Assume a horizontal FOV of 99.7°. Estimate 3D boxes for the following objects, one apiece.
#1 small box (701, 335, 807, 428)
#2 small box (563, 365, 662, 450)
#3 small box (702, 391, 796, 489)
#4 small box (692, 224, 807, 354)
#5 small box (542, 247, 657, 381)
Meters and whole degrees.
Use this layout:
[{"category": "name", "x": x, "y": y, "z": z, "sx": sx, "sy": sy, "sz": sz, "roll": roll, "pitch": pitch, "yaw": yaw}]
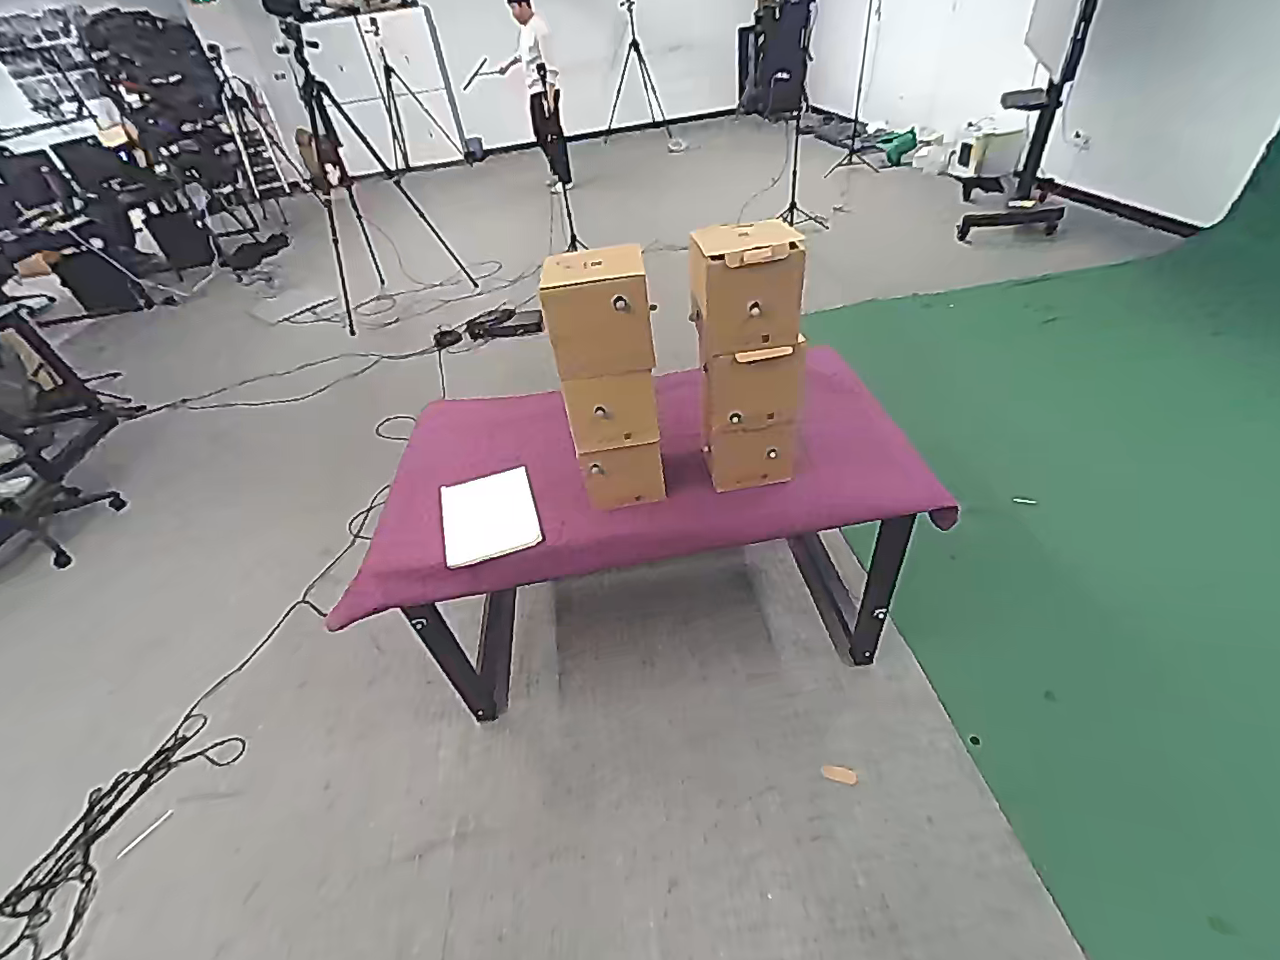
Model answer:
[{"category": "small box", "x": 0.220, "y": -0.215, "z": 1.078, "sx": 0.168, "sy": 0.176, "sz": 0.179, "roll": -9, "pitch": 39, "yaw": -1}, {"category": "small box", "x": -0.053, "y": -0.172, "z": 1.075, "sx": 0.168, "sy": 0.176, "sz": 0.179, "roll": -9, "pitch": 39, "yaw": 1}, {"category": "small box", "x": 0.234, "y": -0.093, "z": 1.186, "sx": 0.168, "sy": 0.176, "sz": 0.179, "roll": -8, "pitch": 39, "yaw": 0}, {"category": "small box", "x": 0.190, "y": -0.338, "z": 0.973, "sx": 0.168, "sy": 0.176, "sz": 0.179, "roll": -7, "pitch": 40, "yaw": 0}, {"category": "small box", "x": -0.063, "y": -0.294, "z": 0.965, "sx": 0.179, "sy": 0.176, "sz": 0.168, "roll": -8, "pitch": 39, "yaw": 3}]
